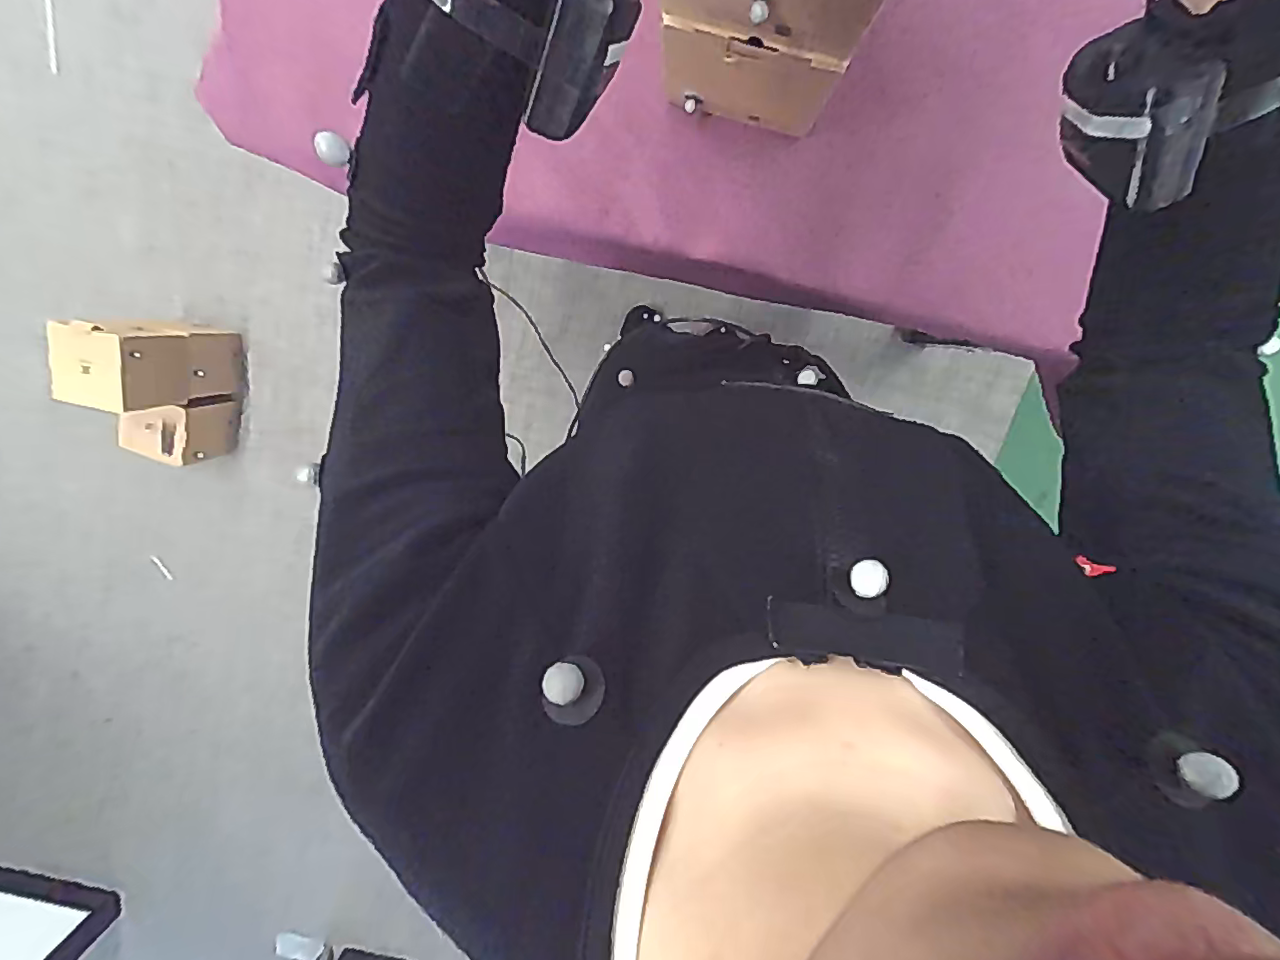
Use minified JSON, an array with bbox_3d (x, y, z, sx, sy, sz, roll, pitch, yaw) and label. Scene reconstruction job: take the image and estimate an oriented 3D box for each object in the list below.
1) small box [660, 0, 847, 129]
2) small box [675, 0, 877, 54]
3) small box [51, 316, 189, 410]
[{"bbox_3d":[0.124,-0.474,0.519,0.168,0.176,0.179,16,105,0],"label":"small box"},{"bbox_3d":[0.112,-0.439,0.359,0.168,0.176,0.179,15,106,1],"label":"small box"},{"bbox_3d":[-1.200,-0.274,1.262,0.168,0.176,0.179,12,105,1],"label":"small box"}]
